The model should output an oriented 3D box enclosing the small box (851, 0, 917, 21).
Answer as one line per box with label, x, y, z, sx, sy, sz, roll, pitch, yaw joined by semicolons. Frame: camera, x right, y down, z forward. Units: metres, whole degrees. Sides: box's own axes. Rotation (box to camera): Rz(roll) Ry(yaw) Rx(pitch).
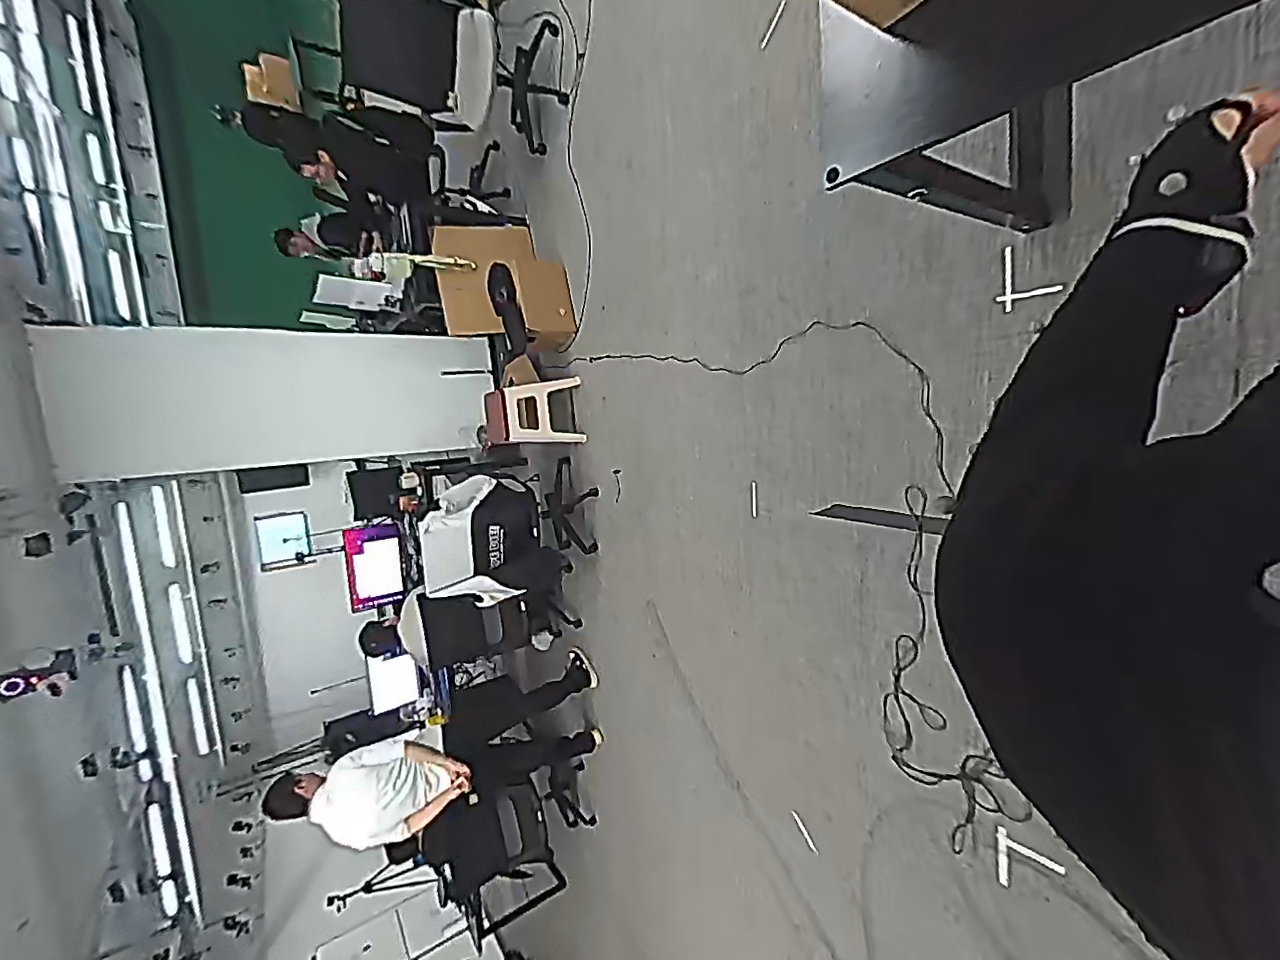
small box;0.320;-0.728;0.663;0.168;0.176;0.179;2;100;56
